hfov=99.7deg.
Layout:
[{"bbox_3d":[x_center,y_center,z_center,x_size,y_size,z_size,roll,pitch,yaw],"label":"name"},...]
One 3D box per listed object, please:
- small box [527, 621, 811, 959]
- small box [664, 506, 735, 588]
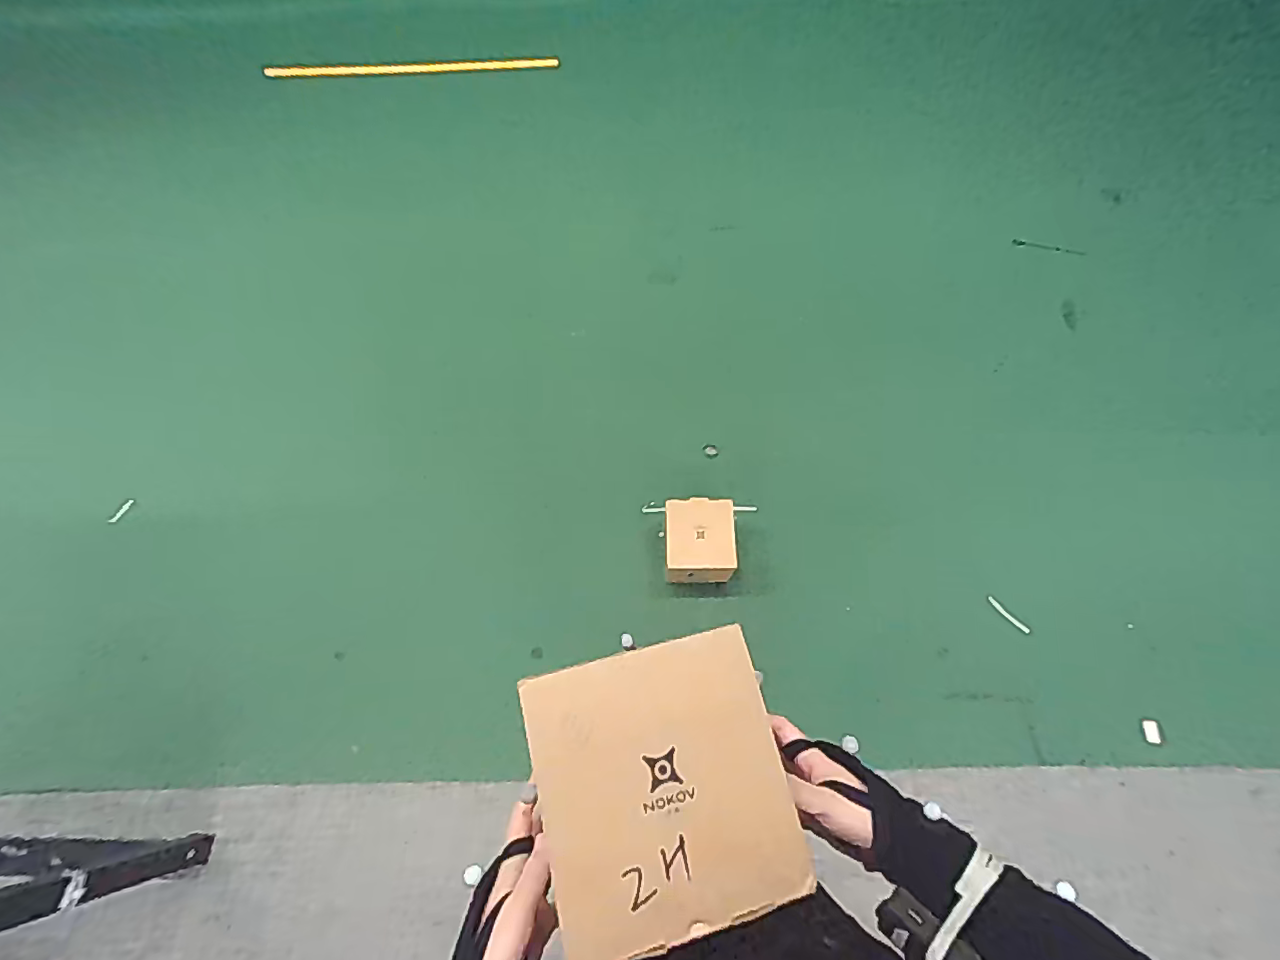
[{"bbox_3d":[0.006,0.227,0.441,0.168,0.176,0.179,-11,72,-10],"label":"small box"},{"bbox_3d":[0.146,0.175,1.374,0.168,0.176,0.179,-1,65,1],"label":"small box"}]
